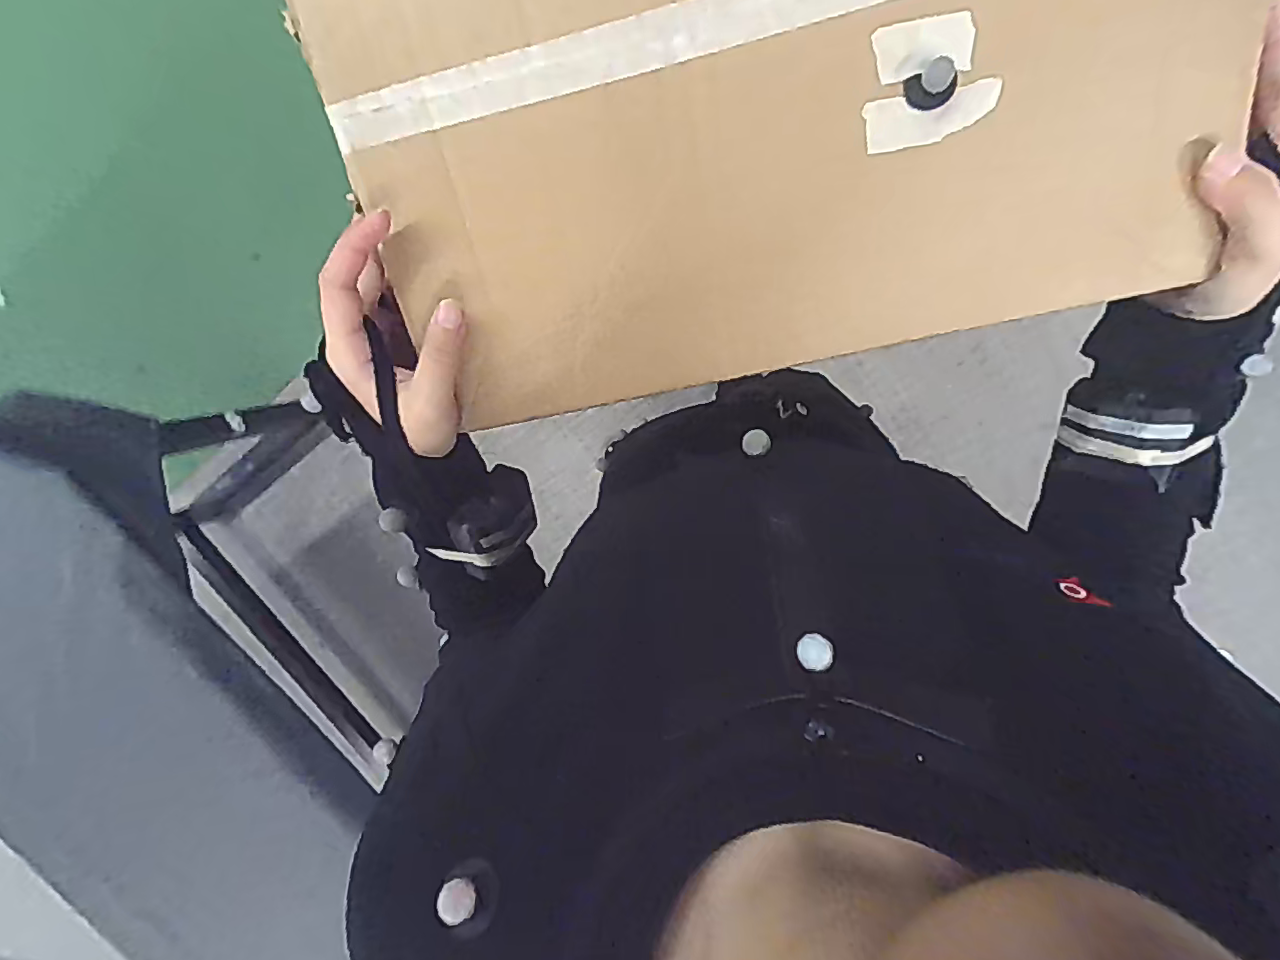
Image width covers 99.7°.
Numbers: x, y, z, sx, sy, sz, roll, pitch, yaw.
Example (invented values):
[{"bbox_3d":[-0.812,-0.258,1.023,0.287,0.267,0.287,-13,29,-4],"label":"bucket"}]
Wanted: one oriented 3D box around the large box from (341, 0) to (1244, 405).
[{"bbox_3d":[0.066,-0.271,0.385,0.408,0.320,0.320,-11,111,6],"label":"large box"}]
